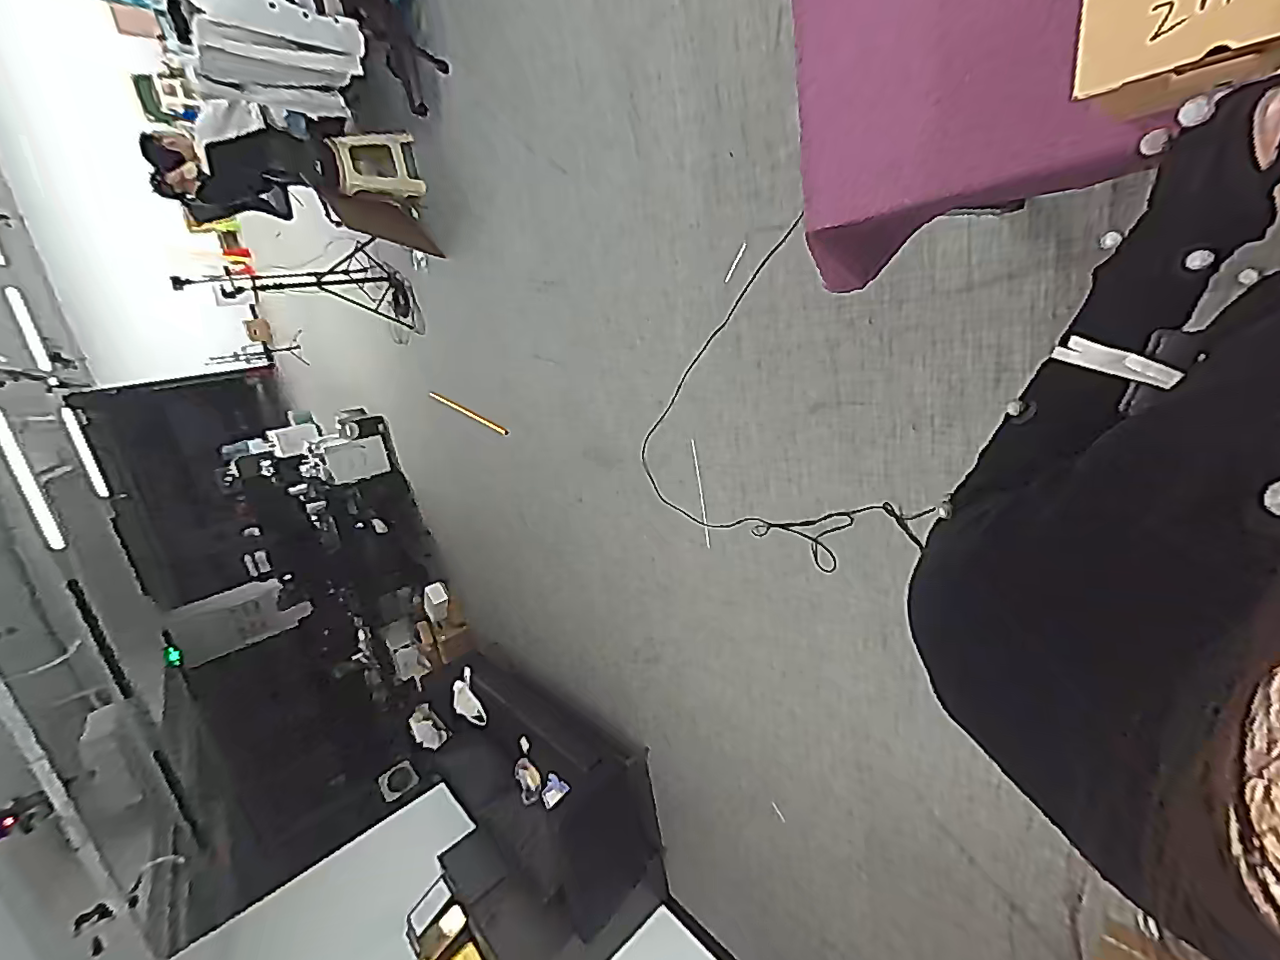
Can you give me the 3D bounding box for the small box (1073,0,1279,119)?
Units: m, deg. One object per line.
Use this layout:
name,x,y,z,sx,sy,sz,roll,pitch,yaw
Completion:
small box,0.465,-0.406,0.412,0.168,0.176,0.179,15,118,48
